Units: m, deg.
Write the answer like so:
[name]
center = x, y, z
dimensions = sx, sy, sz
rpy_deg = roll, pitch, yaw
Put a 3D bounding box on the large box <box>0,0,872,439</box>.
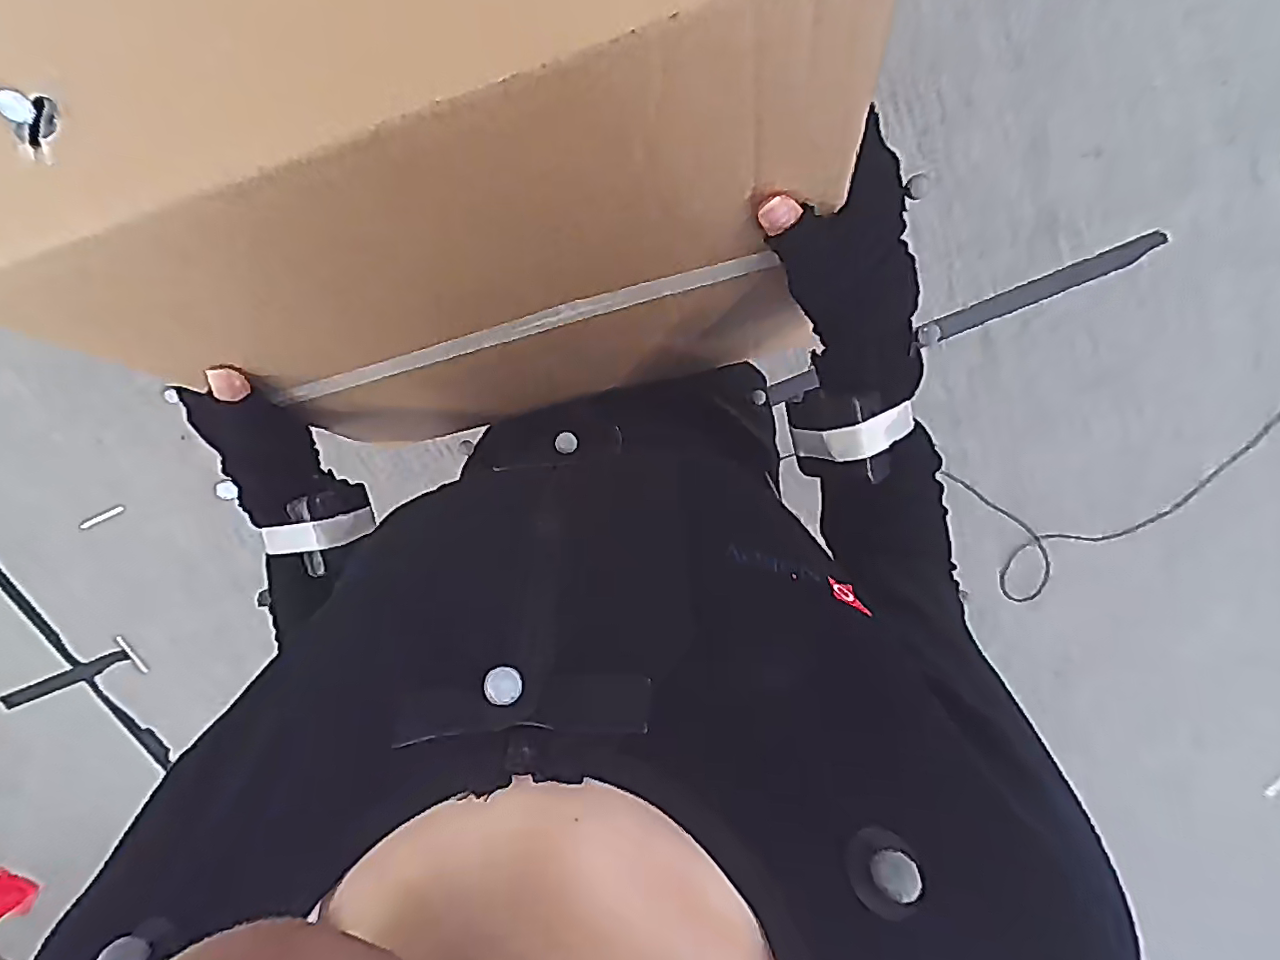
[large box]
center = -0.108, -0.253, 0.380
dimensions = 0.408, 0.320, 0.320
rpy_deg = -13, 79, 9
